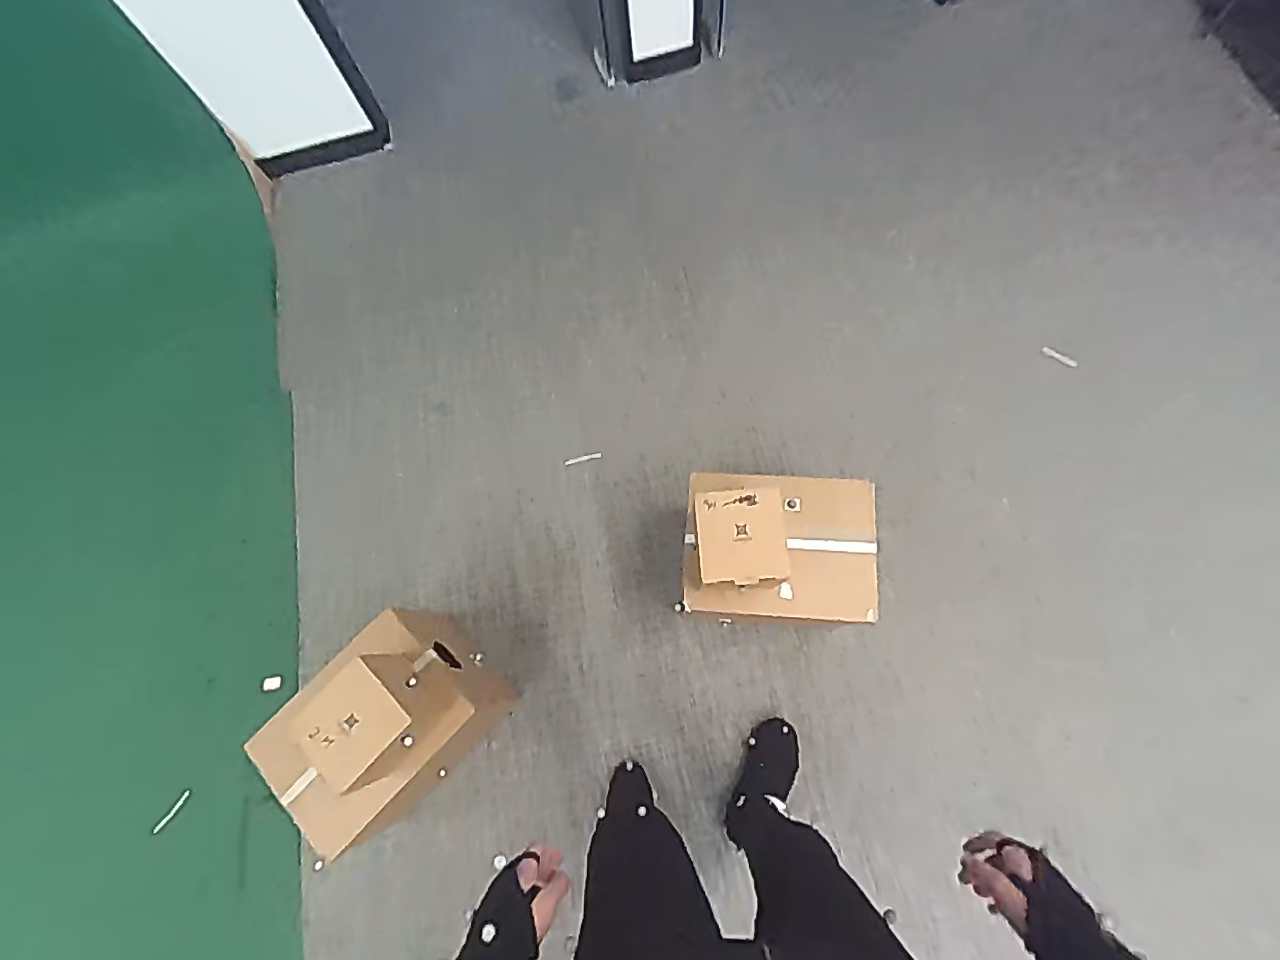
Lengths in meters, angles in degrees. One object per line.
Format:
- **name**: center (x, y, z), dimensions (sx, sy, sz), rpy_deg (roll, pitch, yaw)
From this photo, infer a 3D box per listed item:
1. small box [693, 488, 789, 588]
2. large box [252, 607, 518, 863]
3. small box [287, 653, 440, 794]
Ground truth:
- **small box**: center (0.195, 0.123, 1.085), dimensions (0.168, 0.176, 0.179), rpy_deg (-4, 74, 3)
- **large box**: center (-0.565, 0.559, 1.272), dimensions (0.320, 0.320, 0.408), rpy_deg (41, 81, 17)
- **small box**: center (-0.513, 0.453, 1.040), dimensions (0.168, 0.176, 0.179), rpy_deg (41, 80, 15)
